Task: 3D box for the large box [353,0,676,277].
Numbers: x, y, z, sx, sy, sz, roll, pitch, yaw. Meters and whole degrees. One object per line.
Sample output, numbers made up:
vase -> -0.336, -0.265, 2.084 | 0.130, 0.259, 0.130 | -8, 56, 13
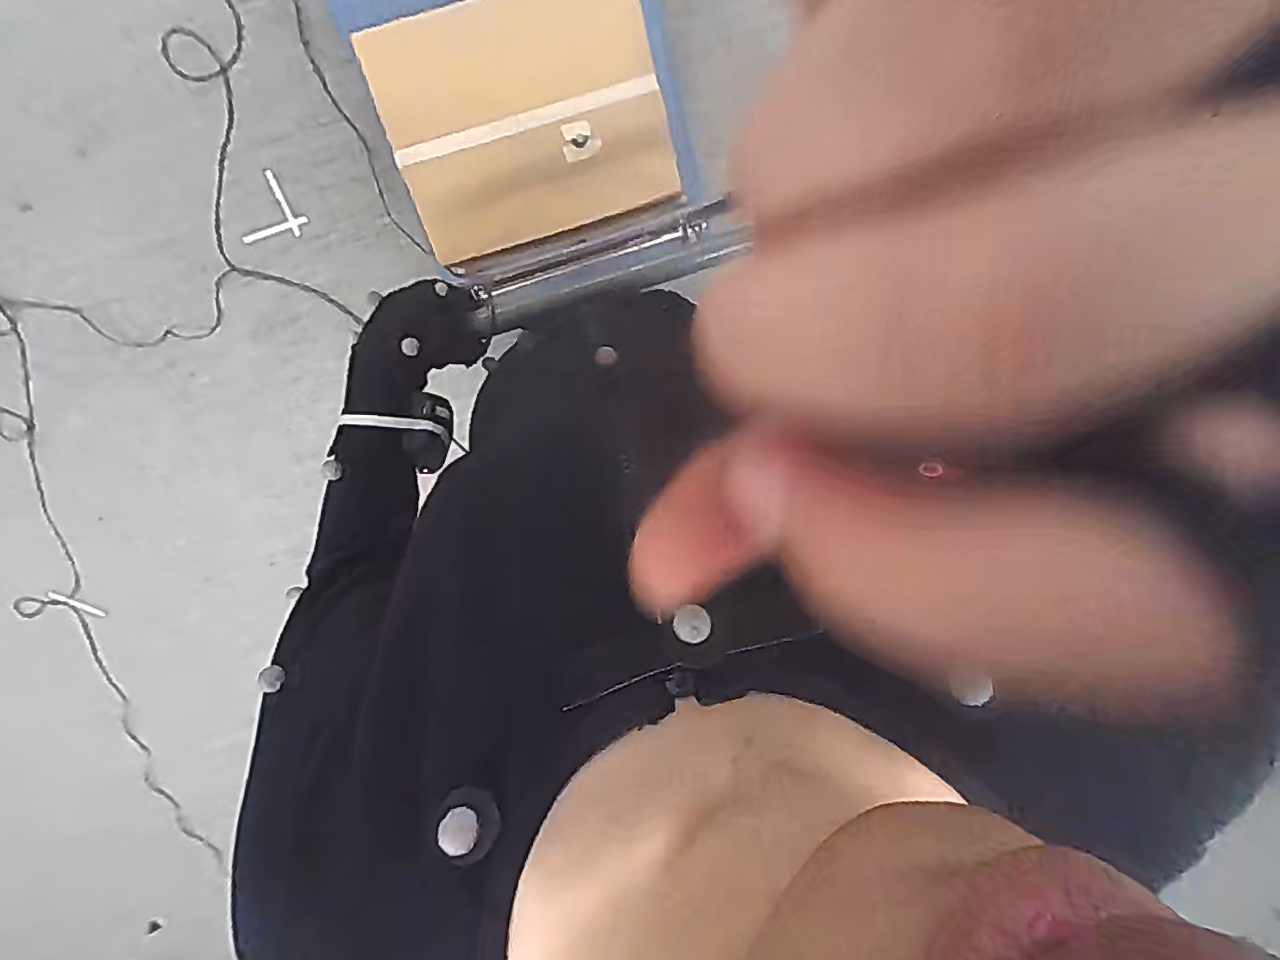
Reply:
large box -> -0.190, -0.571, 0.942 | 0.408, 0.320, 0.320 | -18, 111, -1
